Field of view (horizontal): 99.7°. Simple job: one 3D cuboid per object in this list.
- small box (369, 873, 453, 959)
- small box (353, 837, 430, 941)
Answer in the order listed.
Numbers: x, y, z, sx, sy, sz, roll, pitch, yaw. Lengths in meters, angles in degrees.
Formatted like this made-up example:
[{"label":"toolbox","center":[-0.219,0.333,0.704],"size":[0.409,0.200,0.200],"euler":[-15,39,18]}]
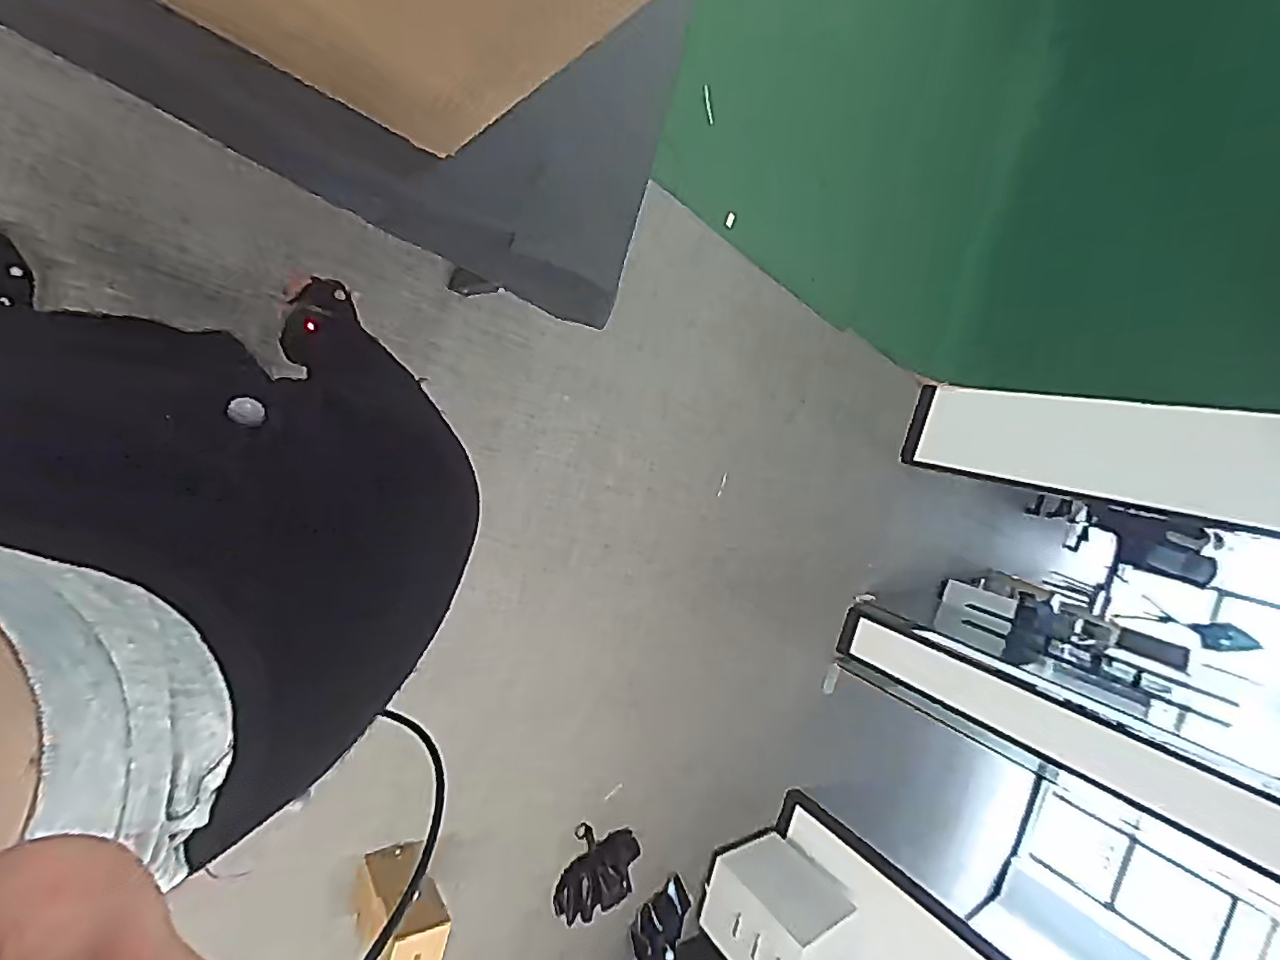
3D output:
[{"label":"small box","center":[-0.677,1.315,1.588],"size":[0.168,0.176,0.179],"euler":[14,93,-42]},{"label":"small box","center":[-0.787,1.280,1.706],"size":[0.168,0.176,0.179],"euler":[12,94,-42]}]
